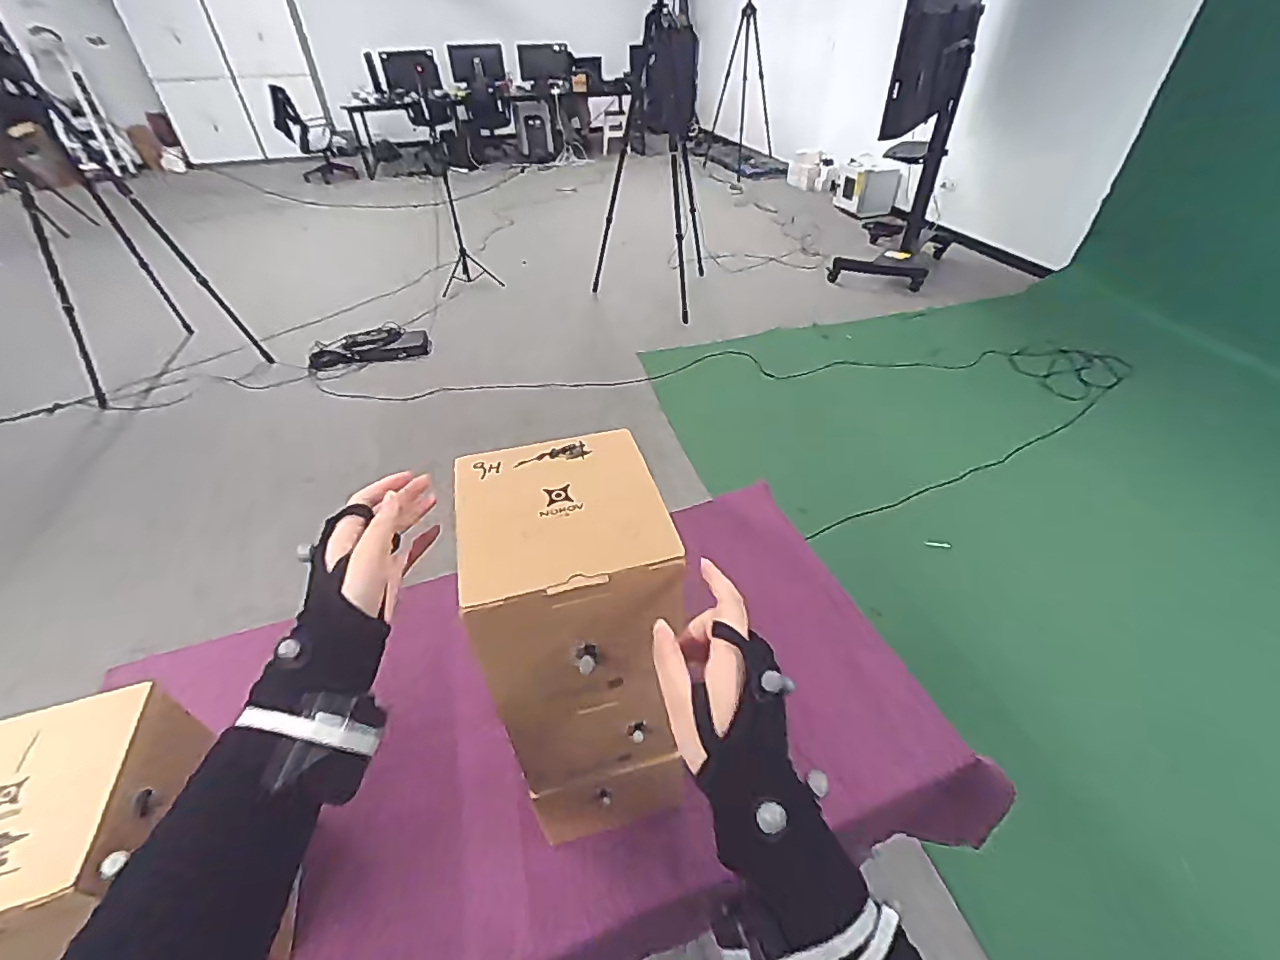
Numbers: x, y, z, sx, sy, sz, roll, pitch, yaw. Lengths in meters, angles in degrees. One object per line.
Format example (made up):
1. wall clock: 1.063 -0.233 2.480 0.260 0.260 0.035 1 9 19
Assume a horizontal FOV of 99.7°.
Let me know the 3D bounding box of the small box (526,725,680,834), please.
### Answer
1. small box: -0.051 0.333 0.709 0.179 0.176 0.168 -11 42 -9

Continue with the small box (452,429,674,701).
1. small box: -0.069 0.081 0.501 0.168 0.176 0.179 -11 43 -11

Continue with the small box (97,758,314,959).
1. small box: -0.502 0.452 0.603 0.179 0.176 0.168 -13 42 -13

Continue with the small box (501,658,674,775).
1. small box: -0.060 0.205 0.609 0.168 0.176 0.179 -11 41 -9

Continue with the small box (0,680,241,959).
1. small box: -0.510 0.325 0.498 0.168 0.176 0.179 -14 41 -13
